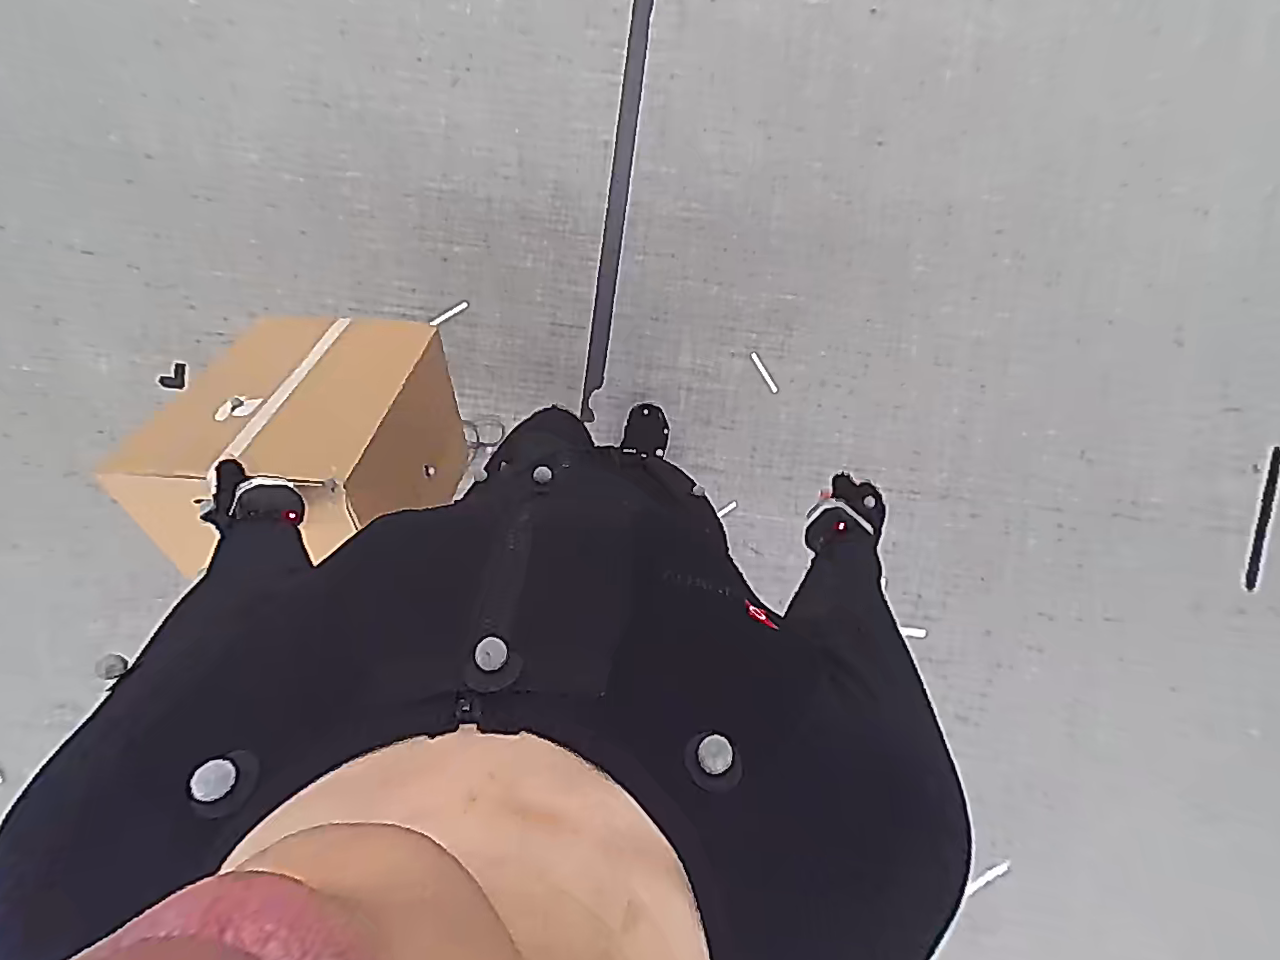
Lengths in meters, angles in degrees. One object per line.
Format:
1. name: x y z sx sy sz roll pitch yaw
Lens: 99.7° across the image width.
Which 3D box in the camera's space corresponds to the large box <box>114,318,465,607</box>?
1. large box: -0.527 -0.039 0.936 0.320 0.408 0.320 2 135 1
